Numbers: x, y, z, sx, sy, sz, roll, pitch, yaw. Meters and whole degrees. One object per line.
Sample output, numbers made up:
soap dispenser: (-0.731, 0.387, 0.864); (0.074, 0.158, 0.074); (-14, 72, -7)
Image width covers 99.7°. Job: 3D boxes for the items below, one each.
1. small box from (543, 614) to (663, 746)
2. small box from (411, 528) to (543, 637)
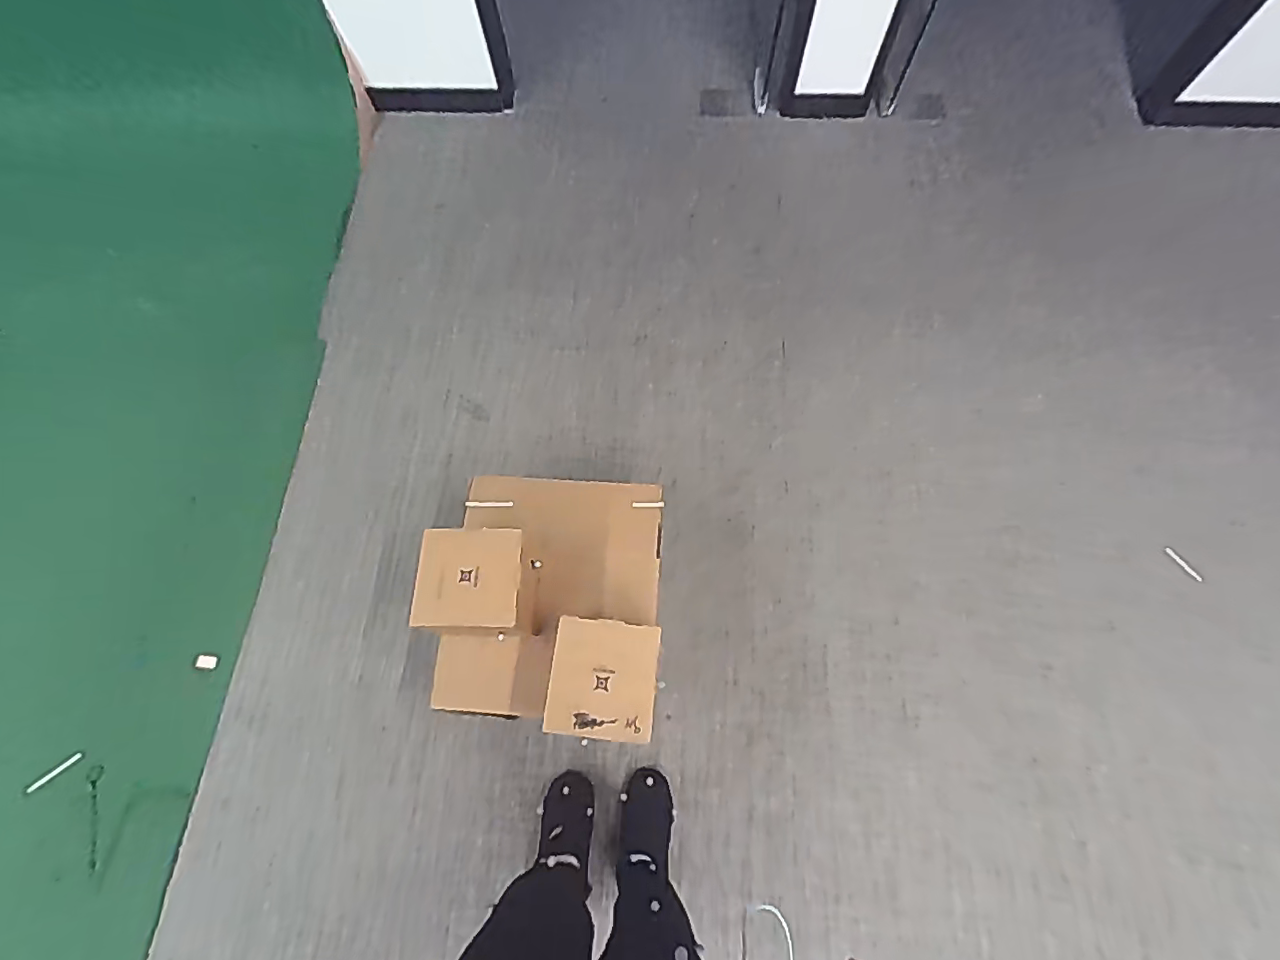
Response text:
small box: (-0.055, 0.334, 0.909); (0.168, 0.176, 0.179); (7, 70, 3)
small box: (-0.279, 0.189, 0.972); (0.179, 0.176, 0.168); (0, 68, 3)
